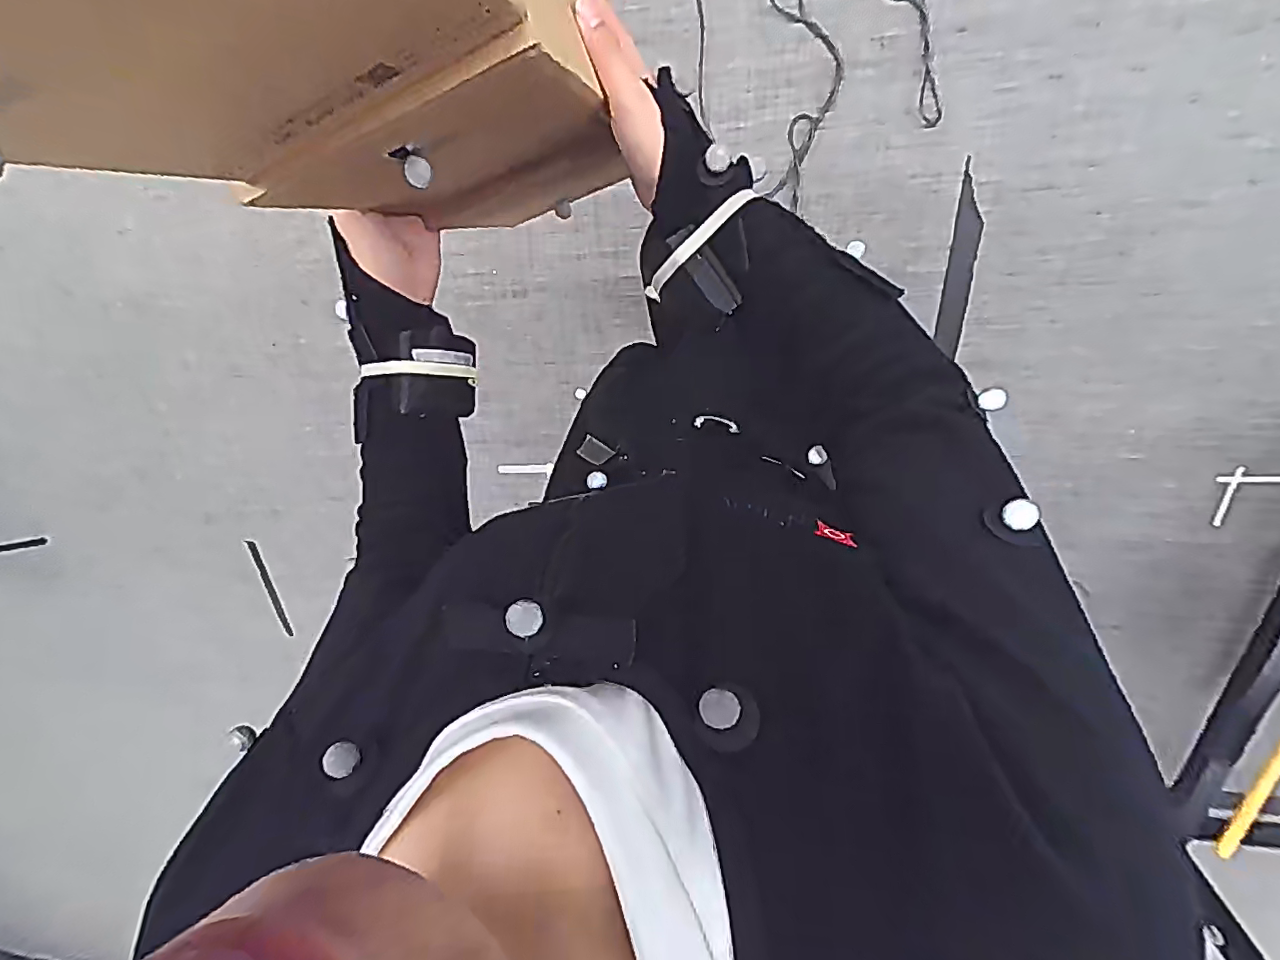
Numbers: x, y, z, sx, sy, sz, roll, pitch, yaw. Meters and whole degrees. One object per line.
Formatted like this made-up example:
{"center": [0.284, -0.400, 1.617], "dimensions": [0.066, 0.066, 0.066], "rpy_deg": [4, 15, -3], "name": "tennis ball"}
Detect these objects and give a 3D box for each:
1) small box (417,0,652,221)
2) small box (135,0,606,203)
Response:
{"center": [-0.101, -0.325, 0.437], "dimensions": [0.168, 0.176, 0.179], "rpy_deg": [-13, 112, 18], "name": "small box"}
{"center": [-0.130, -0.265, 0.288], "dimensions": [0.179, 0.176, 0.168], "rpy_deg": [-13, 112, 19], "name": "small box"}
